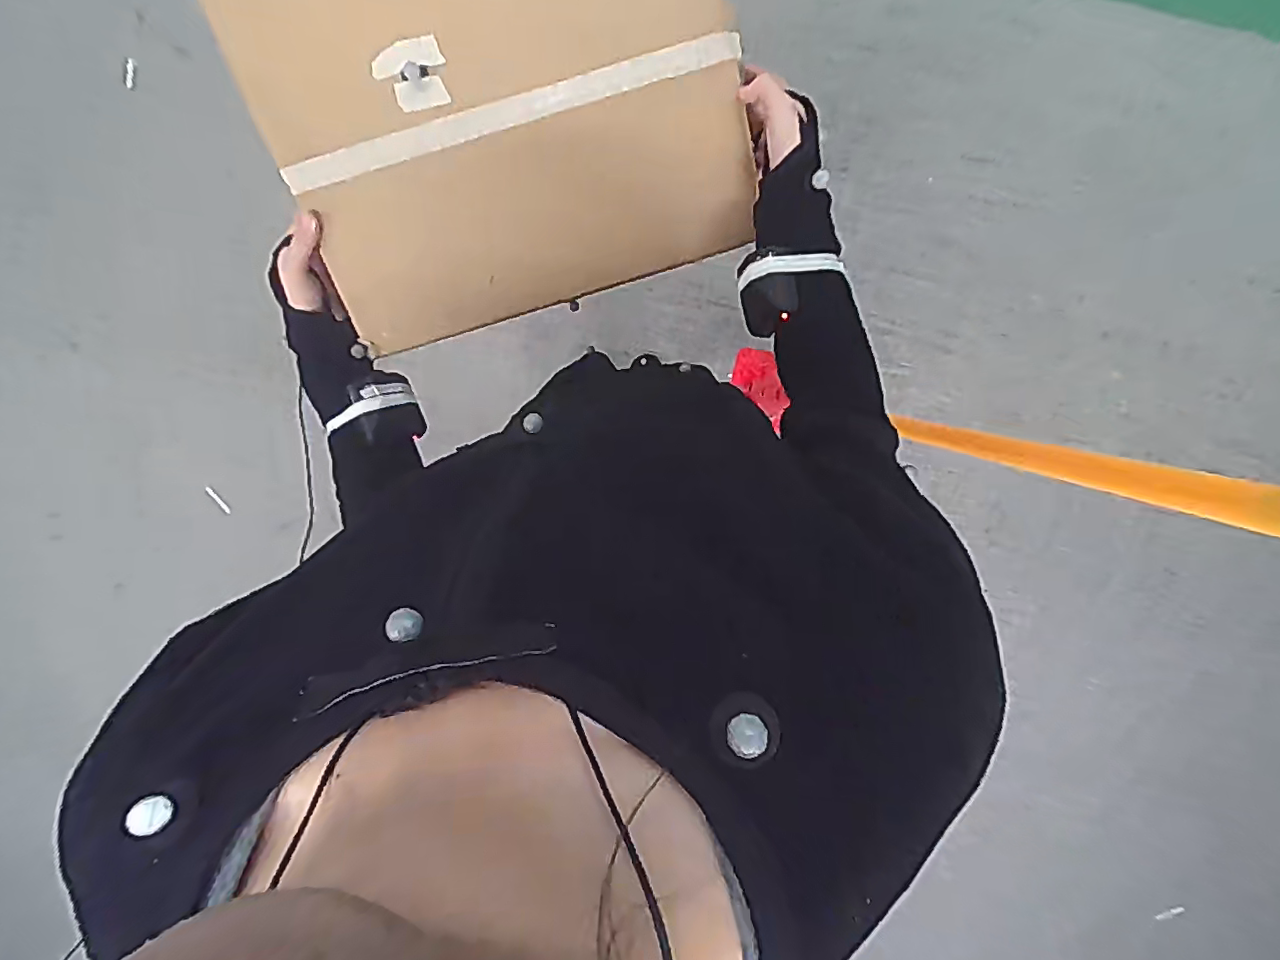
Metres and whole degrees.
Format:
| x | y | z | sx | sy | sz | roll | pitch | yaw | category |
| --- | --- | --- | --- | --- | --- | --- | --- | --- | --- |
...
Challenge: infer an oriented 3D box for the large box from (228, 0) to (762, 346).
| x | y | z | sx | sy | sz | roll | pitch | yaw | category |
| --- | --- | --- | --- | --- | --- | --- | --- | --- | --- |
| -0.121 | -0.379 | 0.621 | 0.408 | 0.320 | 0.320 | -16 | 111 | 0 | large box |
